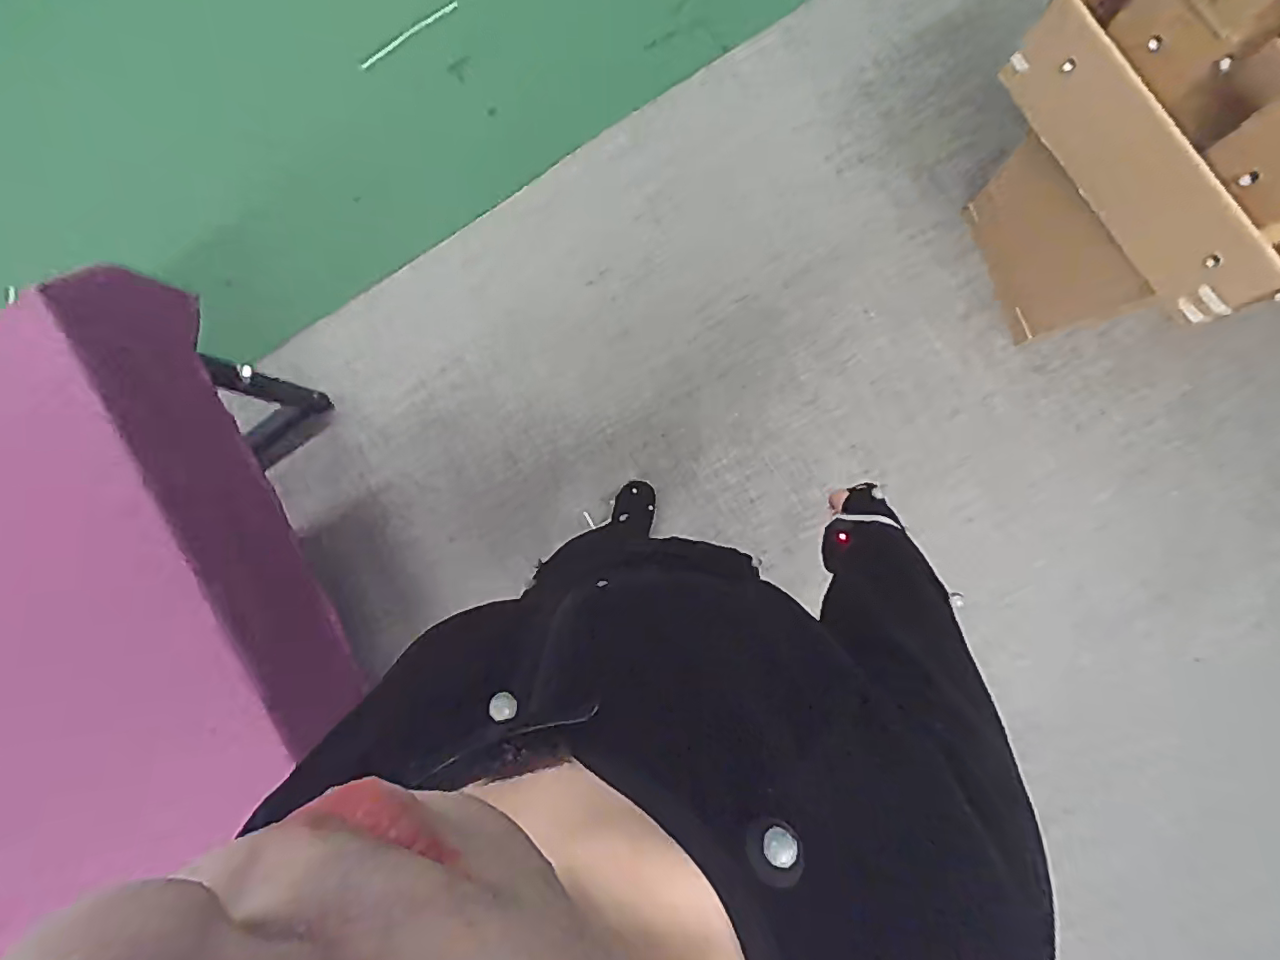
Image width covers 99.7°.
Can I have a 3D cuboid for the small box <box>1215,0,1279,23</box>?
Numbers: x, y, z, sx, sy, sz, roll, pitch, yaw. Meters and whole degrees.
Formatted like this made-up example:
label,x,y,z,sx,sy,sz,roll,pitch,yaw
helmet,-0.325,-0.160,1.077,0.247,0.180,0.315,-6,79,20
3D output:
label,x,y,z,sx,sy,sz,roll,pitch,yaw
small box,0.909,-0.785,0.728,0.179,0.176,0.168,-29,84,4
